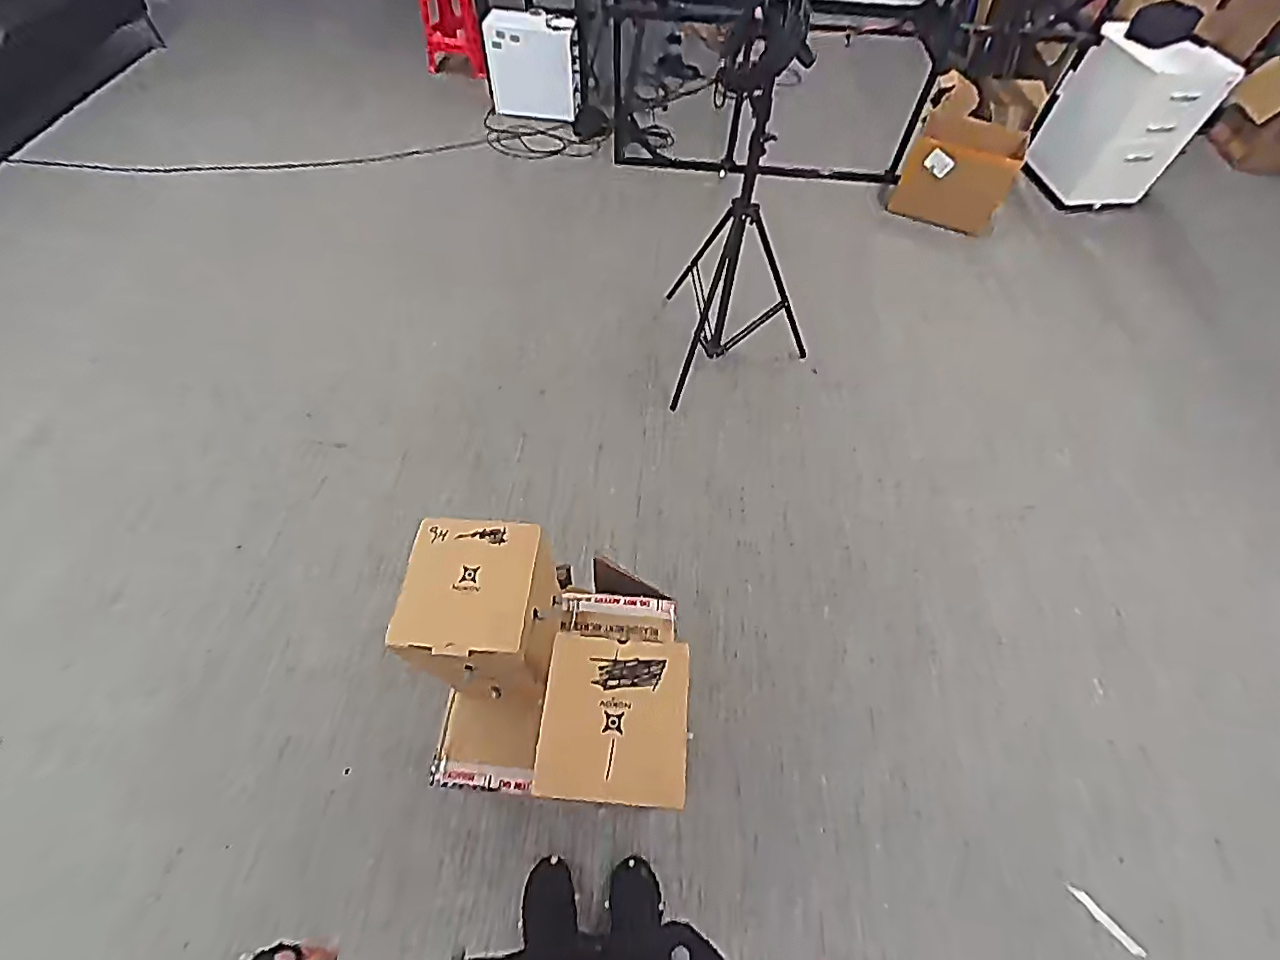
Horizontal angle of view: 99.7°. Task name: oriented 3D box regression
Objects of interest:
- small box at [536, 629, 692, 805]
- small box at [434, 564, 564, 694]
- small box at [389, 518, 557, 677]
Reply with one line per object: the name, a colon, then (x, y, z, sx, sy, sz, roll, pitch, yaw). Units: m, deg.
small box: (-0.027, 0.304, 0.686, 0.168, 0.176, 0.179, 4, 60, 1)
small box: (-0.223, 0.248, 0.905, 0.168, 0.176, 0.179, 1, 59, 1)
small box: (-0.217, 0.171, 0.759, 0.168, 0.176, 0.179, 3, 60, 2)
